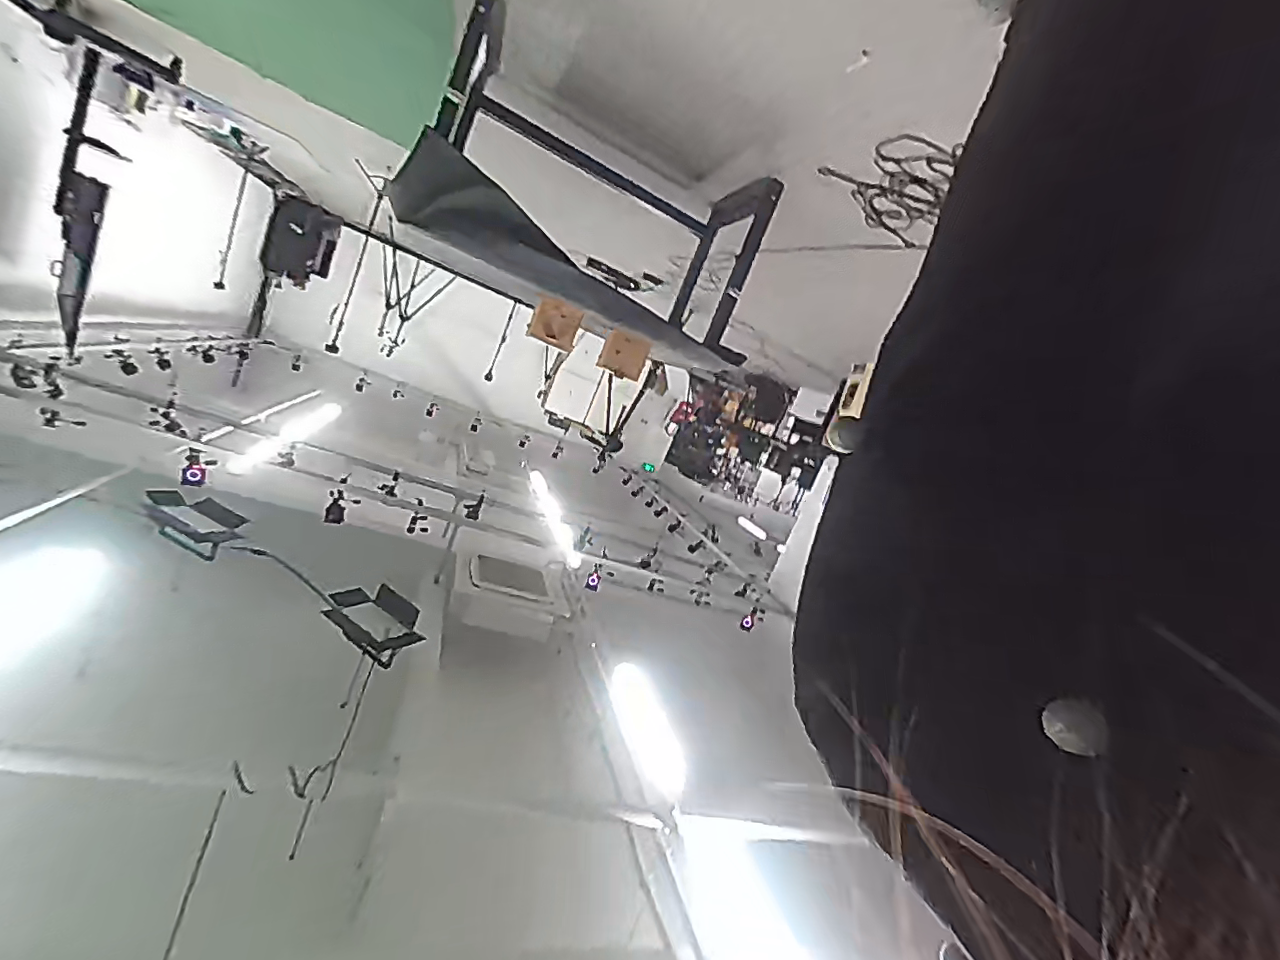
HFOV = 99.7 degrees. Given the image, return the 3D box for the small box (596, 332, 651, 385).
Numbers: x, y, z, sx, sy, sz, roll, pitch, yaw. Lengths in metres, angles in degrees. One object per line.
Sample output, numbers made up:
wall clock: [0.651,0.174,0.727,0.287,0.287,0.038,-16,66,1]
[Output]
small box: [-0.069,-0.510,2.251,0.168,0.176,0.179,22,-172,-16]

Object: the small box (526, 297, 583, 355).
small box: [-0.341,-0.612,2.147,0.168,0.176,0.179,21,-173,-22]
